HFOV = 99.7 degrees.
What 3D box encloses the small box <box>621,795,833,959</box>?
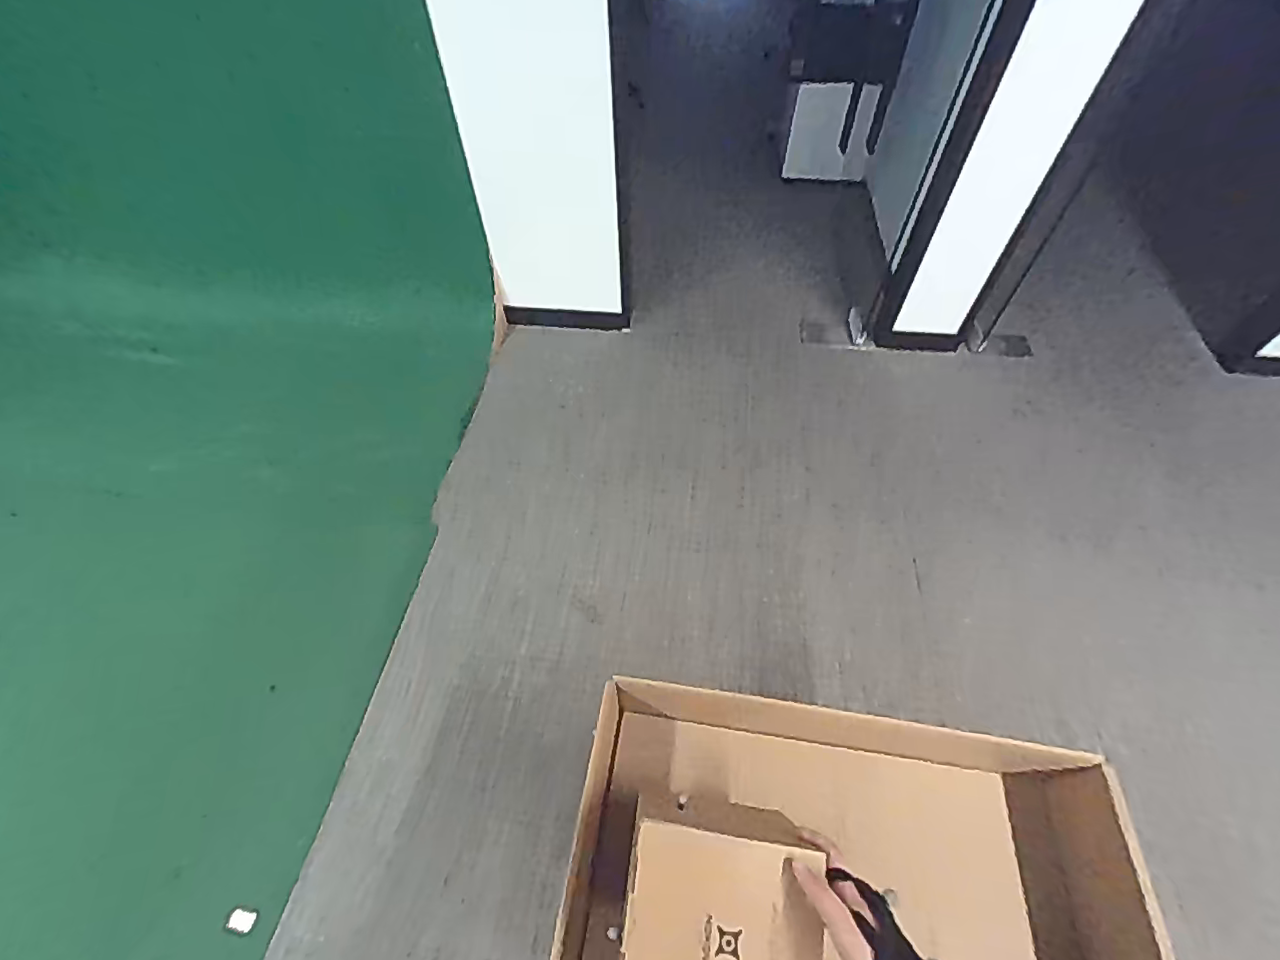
[{"bbox_3d":[0.077,0.432,0.541,0.179,0.176,0.168,9,70,4],"label":"small box"}]
